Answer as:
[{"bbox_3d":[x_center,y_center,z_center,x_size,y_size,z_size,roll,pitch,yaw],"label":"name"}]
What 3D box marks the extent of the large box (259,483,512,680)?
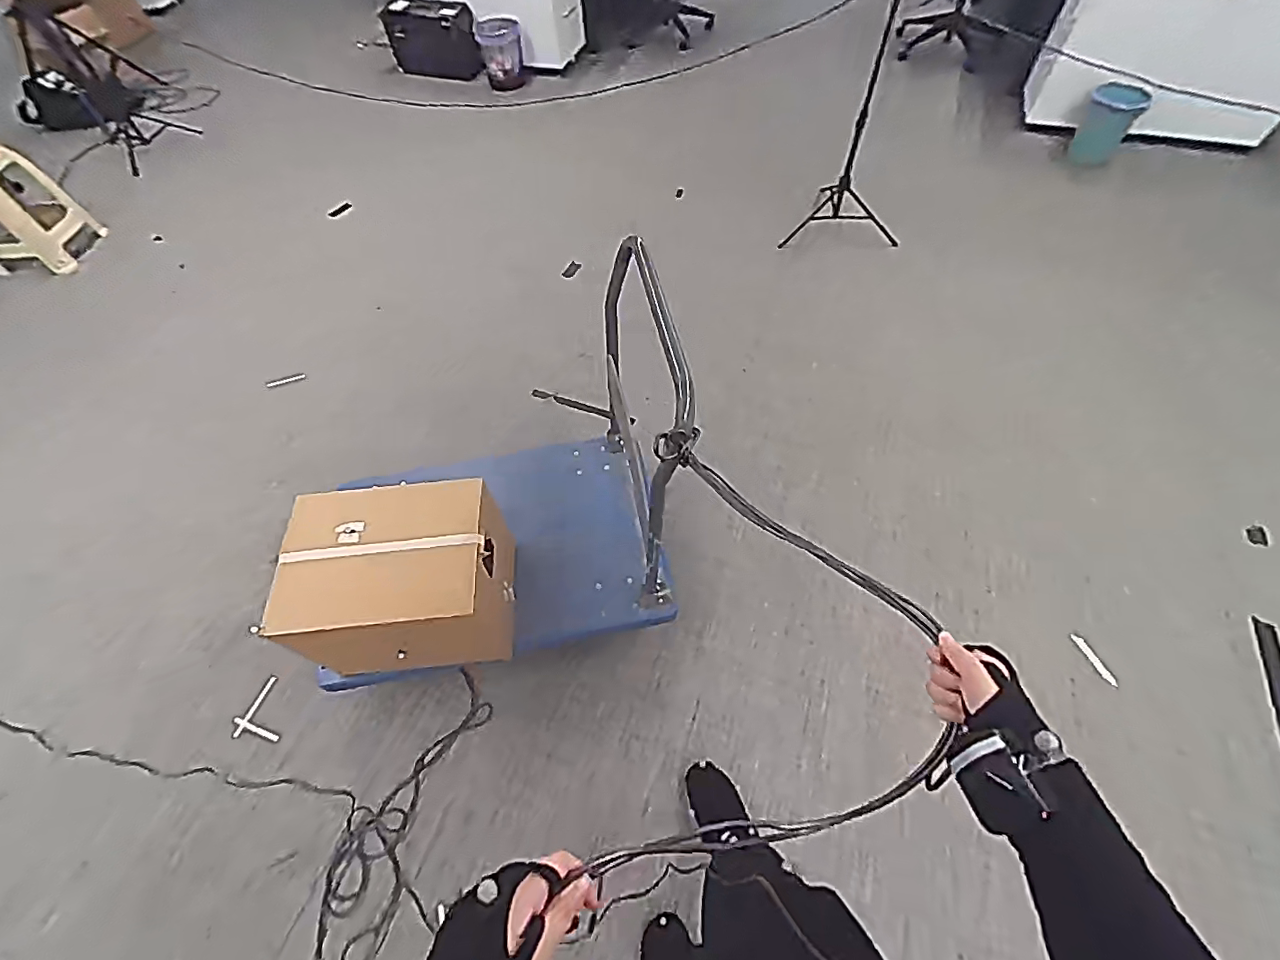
[{"bbox_3d":[-0.519,0.236,1.209,0.408,0.320,0.320,-6,56,-1],"label":"large box"}]
